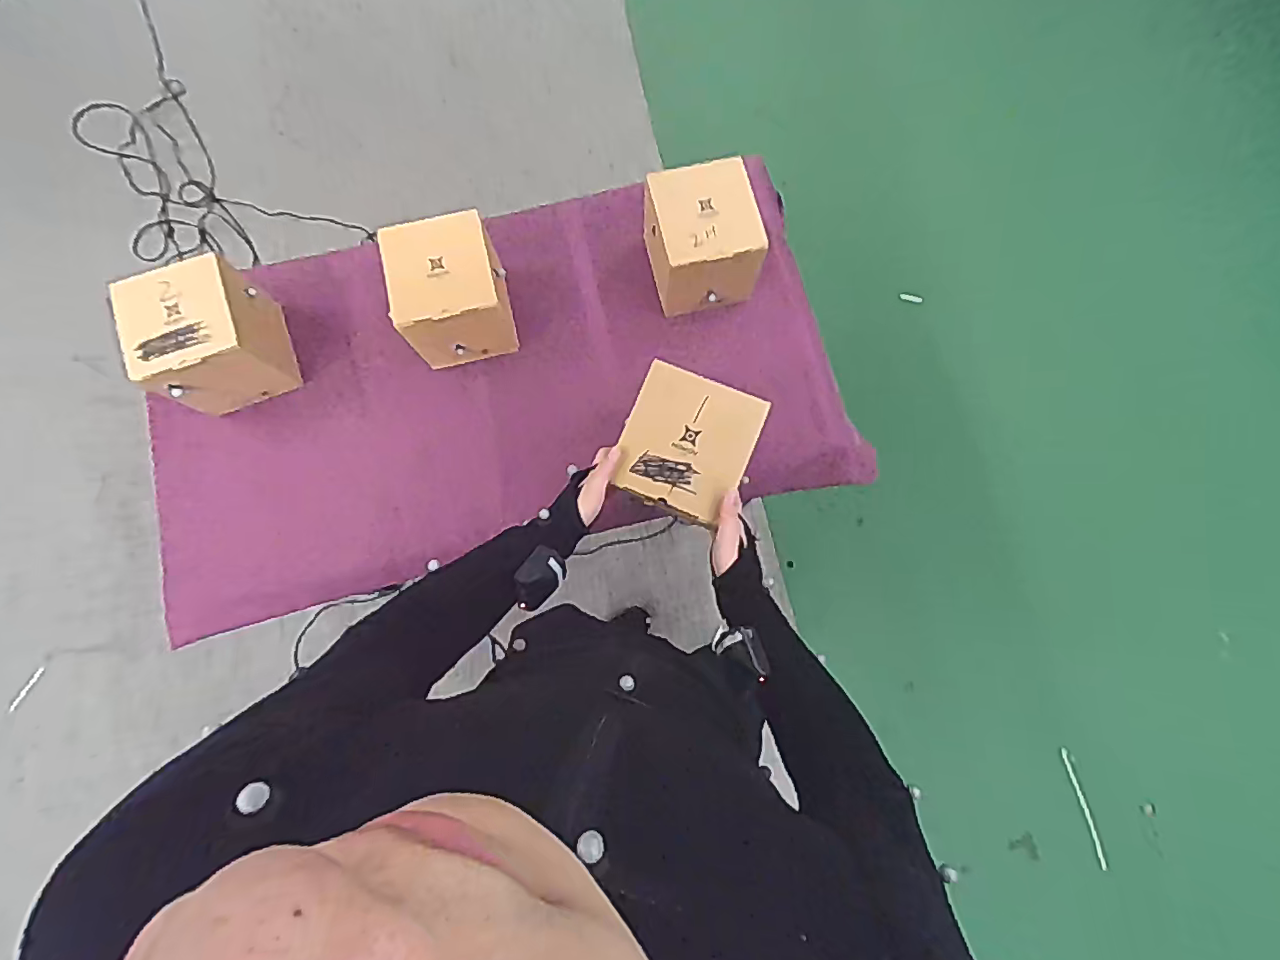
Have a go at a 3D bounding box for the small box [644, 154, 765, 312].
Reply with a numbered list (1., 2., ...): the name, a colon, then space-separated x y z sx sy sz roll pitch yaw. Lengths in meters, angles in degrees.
1. small box: 0.103 -0.428 0.954 0.168 0.176 0.179 -13 80 -3

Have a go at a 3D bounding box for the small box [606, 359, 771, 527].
1. small box: 0.068 -0.041 0.774 0.168 0.176 0.179 23 85 6

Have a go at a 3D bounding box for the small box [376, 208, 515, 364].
1. small box: -0.324 -0.324 0.928 0.168 0.176 0.179 -14 81 -4
